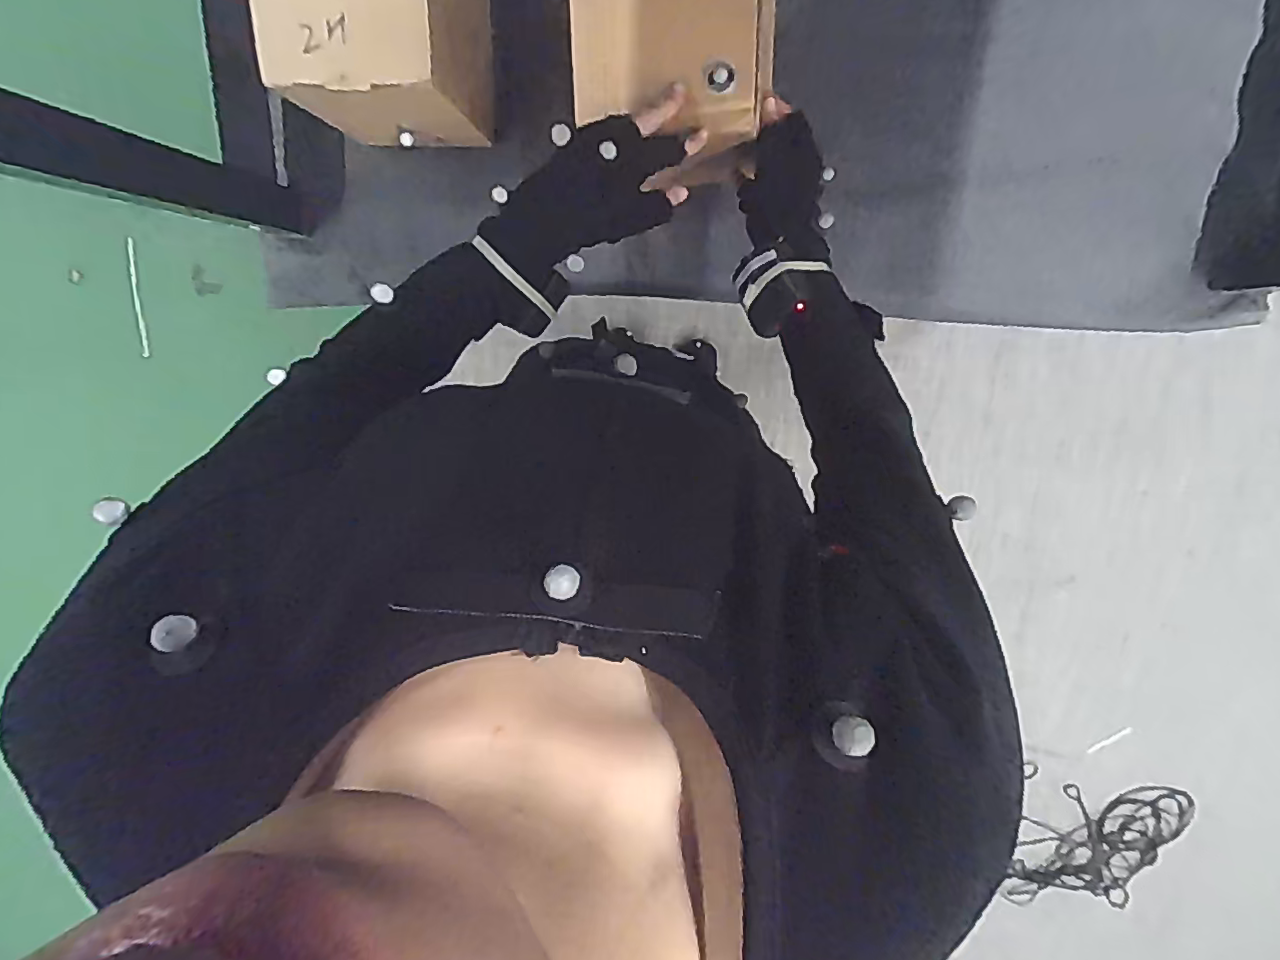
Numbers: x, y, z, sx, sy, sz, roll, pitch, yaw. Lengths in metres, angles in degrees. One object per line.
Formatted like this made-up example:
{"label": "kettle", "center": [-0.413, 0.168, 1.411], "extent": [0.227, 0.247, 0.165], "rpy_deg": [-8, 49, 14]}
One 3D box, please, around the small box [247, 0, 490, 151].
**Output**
{"label": "small box", "center": [-0.260, -0.462, 0.548], "extent": [0.168, 0.176, 0.179], "rpy_deg": [3, 105, 4]}
